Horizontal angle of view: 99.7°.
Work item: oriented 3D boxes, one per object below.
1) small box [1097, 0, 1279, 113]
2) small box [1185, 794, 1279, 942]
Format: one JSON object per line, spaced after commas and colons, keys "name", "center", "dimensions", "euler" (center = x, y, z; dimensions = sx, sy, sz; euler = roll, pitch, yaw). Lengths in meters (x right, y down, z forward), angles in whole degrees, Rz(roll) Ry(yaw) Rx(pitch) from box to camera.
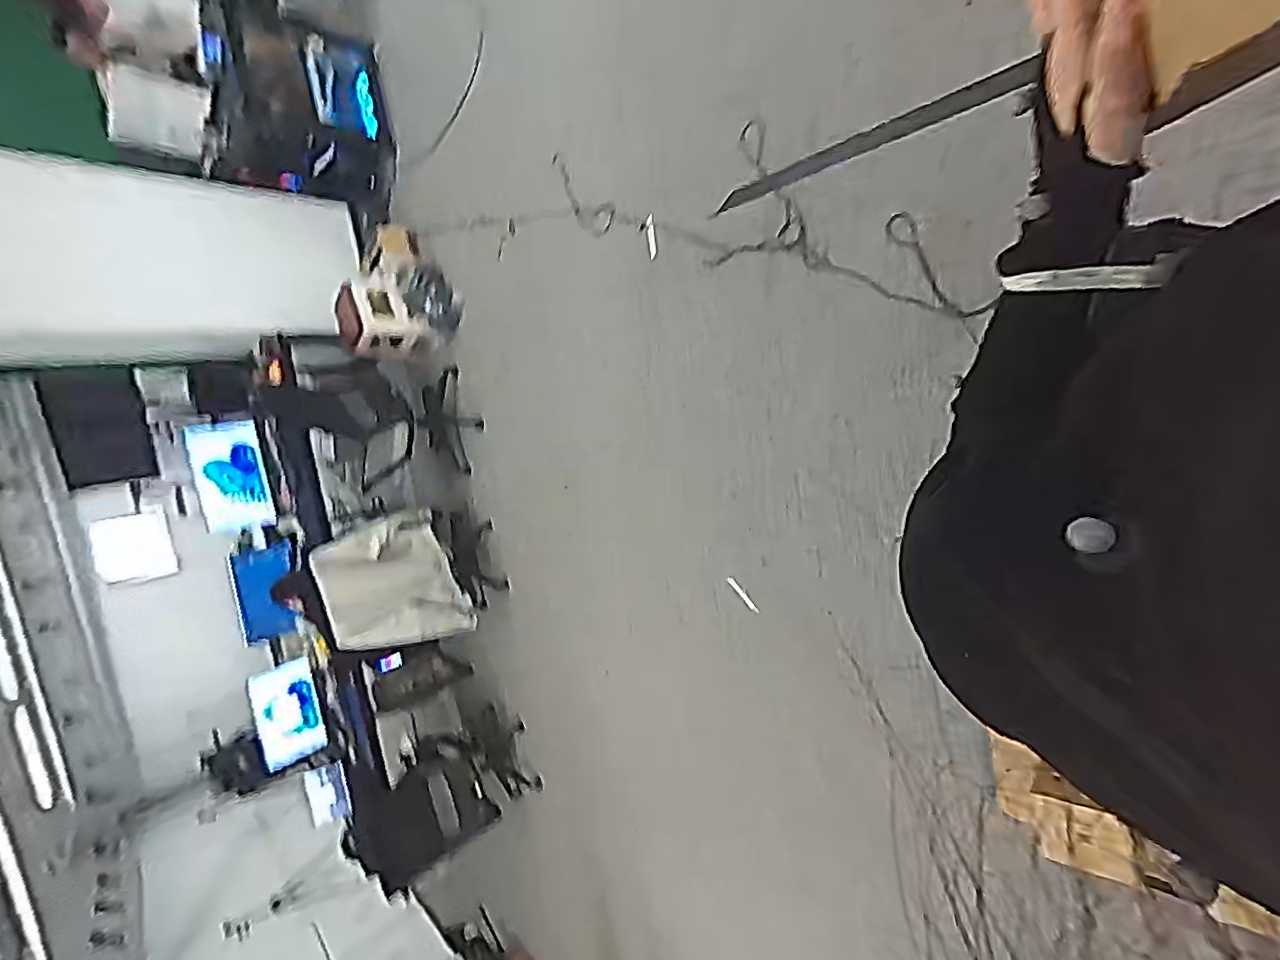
{"name": "small box", "center": [0.305, -0.306, 0.237], "dimensions": [0.168, 0.176, 0.179], "euler": [-21, 95, 42]}
{"name": "small box", "center": [1.201, 0.754, 1.056], "dimensions": [0.179, 0.176, 0.168], "euler": [-9, 94, 46]}
